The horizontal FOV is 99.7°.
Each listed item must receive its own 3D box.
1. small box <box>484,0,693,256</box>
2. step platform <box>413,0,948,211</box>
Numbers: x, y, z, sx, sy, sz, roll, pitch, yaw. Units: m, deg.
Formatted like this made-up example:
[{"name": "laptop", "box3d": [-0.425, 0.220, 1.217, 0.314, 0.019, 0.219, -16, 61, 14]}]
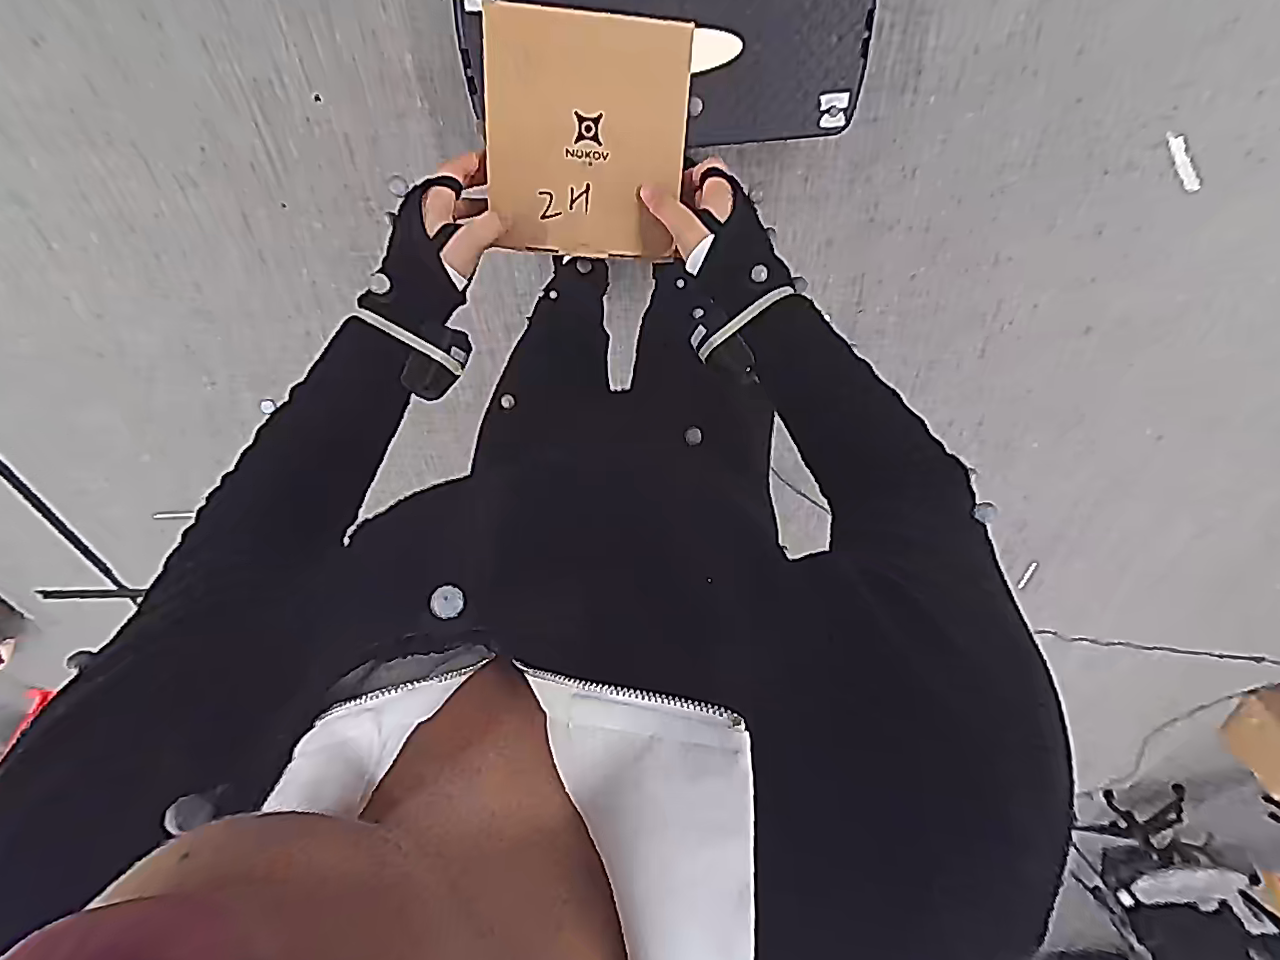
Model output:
[{"name": "small box", "box3d": [-0.052, -0.317, 0.521, 0.168, 0.176, 0.179, 2, 112, -5]}, {"name": "step platform", "box3d": [0.052, -0.591, 0.795, 0.684, 0.204, 0.286, -4, 129, 2]}]
